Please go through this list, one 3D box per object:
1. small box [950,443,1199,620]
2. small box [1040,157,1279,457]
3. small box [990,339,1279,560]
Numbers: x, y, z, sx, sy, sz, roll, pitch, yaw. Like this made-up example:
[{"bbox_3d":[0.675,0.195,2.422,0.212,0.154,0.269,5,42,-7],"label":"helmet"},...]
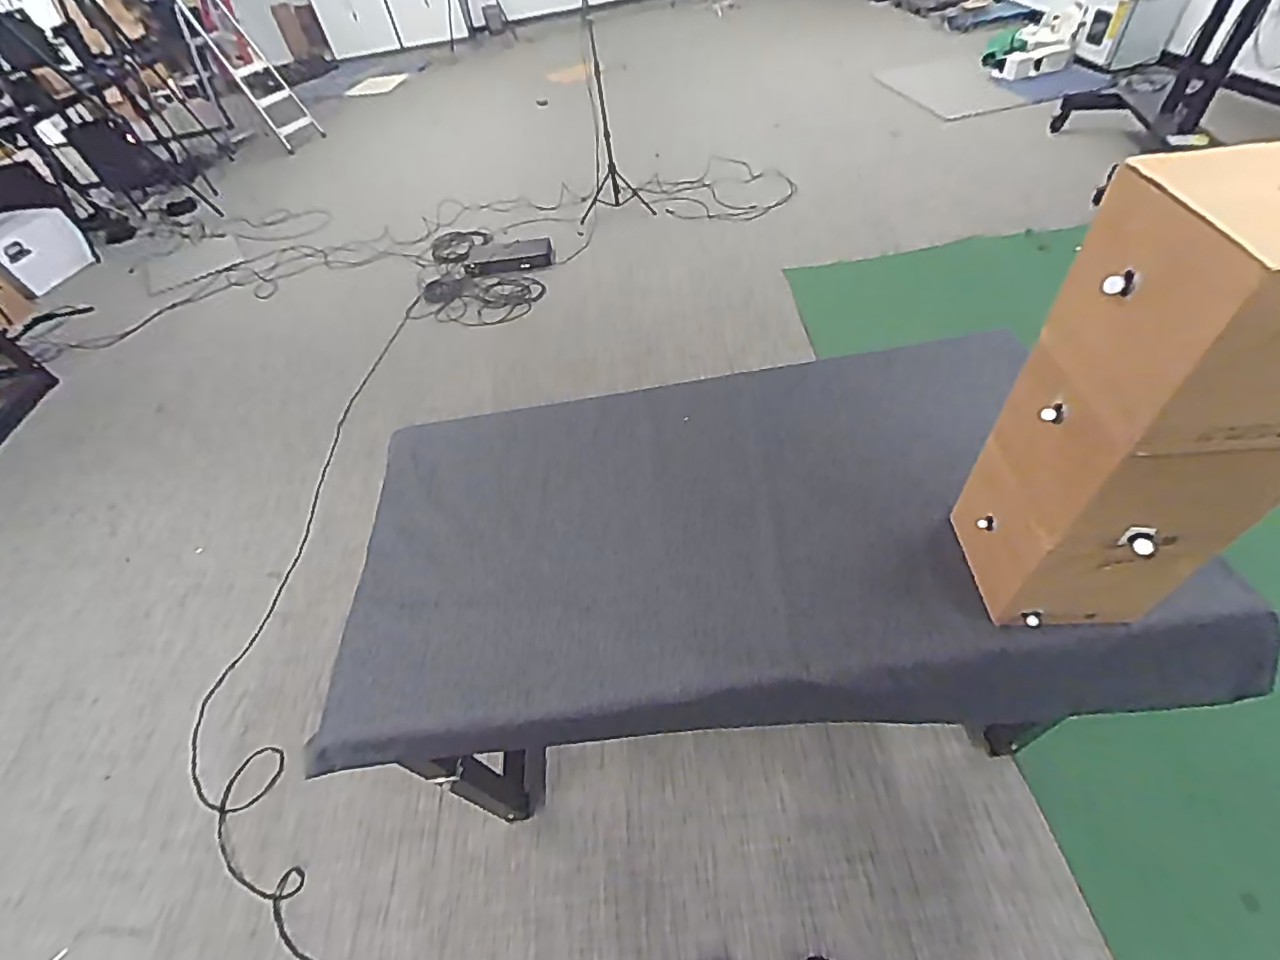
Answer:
[{"bbox_3d":[0.526,0.066,0.688,0.168,0.176,0.179,-3,48,8],"label":"small box"},{"bbox_3d":[0.474,-0.139,0.440,0.168,0.176,0.179,-3,48,9],"label":"small box"},{"bbox_3d":[0.502,-0.035,0.564,0.168,0.176,0.179,-3,50,9],"label":"small box"}]
